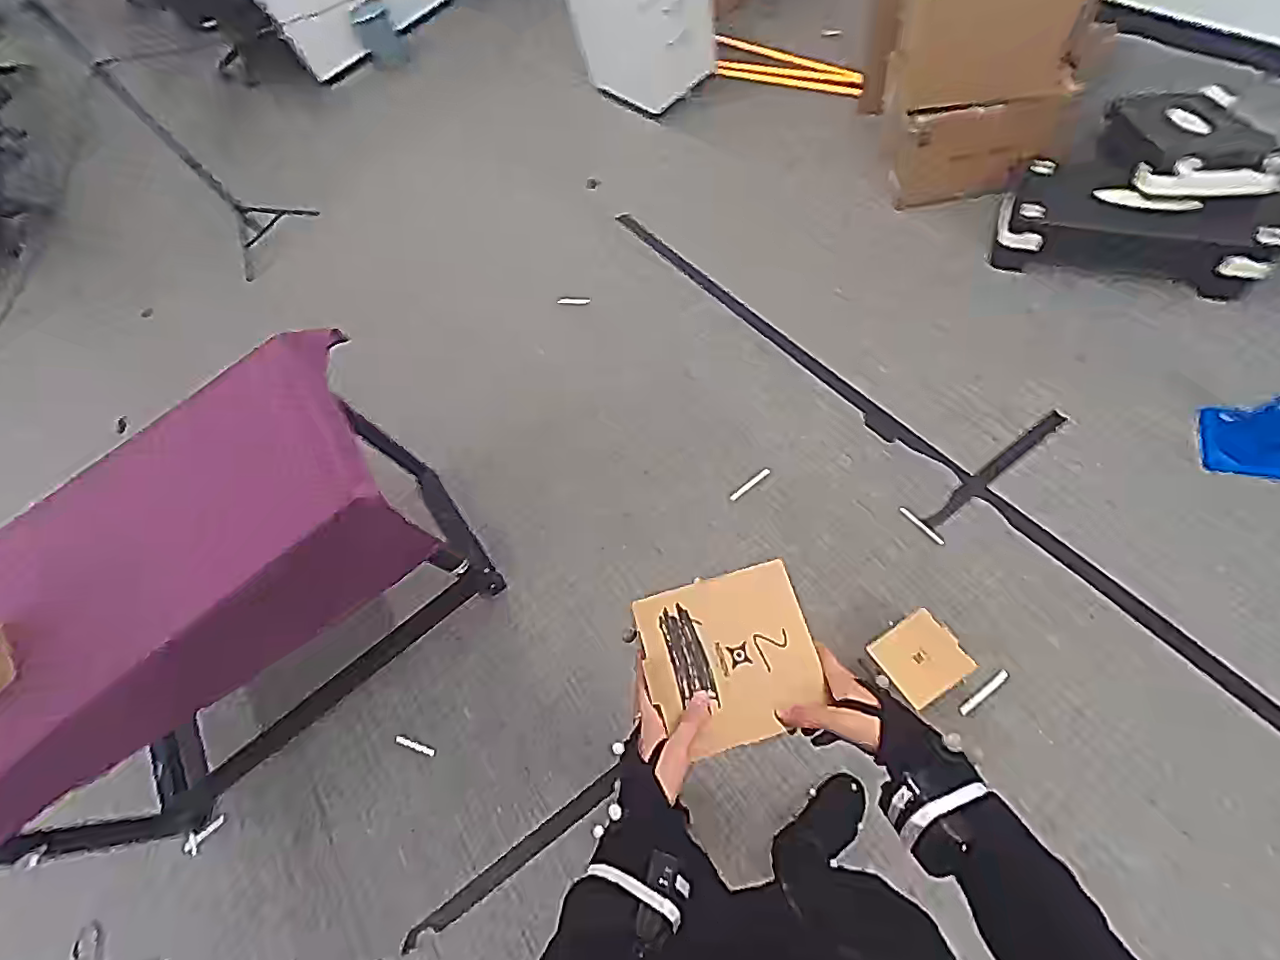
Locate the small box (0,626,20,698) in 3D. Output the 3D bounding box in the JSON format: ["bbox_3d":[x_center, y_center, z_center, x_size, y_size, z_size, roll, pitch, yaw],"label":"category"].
[{"bbox_3d":[-1.374,0.383,1.037,0.168,0.176,0.179,38,78,26],"label":"small box"}]

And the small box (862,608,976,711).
[{"bbox_3d":[0.665,0.444,1.317,0.179,0.176,0.168,-34,62,-4],"label":"small box"}]
